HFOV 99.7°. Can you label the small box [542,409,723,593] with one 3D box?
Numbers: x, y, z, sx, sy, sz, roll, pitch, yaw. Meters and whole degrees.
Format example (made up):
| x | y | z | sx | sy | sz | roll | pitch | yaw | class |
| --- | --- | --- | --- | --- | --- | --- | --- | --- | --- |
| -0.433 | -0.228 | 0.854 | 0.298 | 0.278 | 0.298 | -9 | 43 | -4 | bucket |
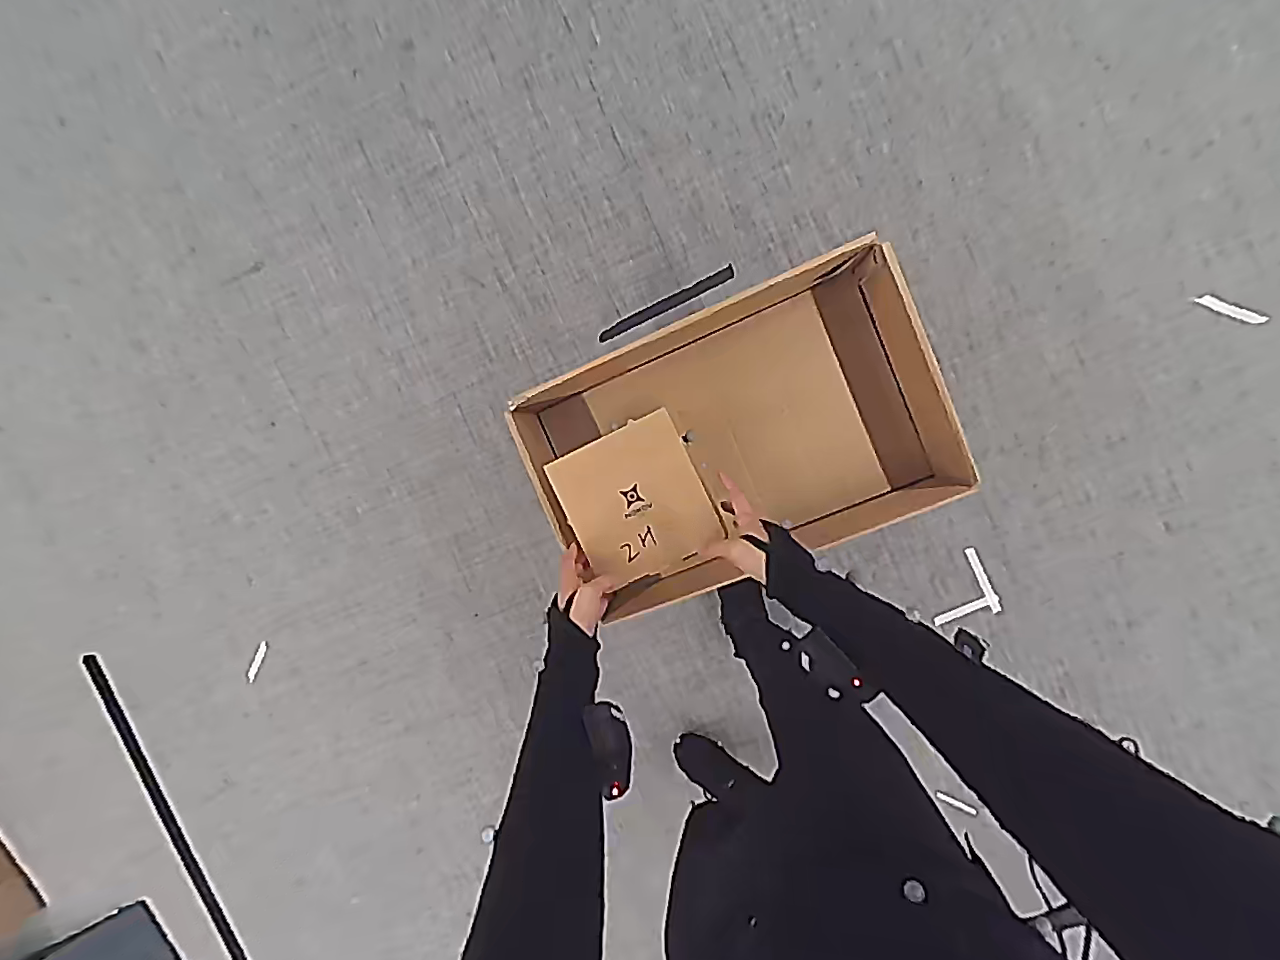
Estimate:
| x | y | z | sx | sy | sz | roll | pitch | yaw | class |
| --- | --- | --- | --- | --- | --- | --- | --- | --- | --- |
| -0.002 | 0.020 | 0.717 | 0.168 | 0.176 | 0.179 | -25 | 93 | 9 | small box |
